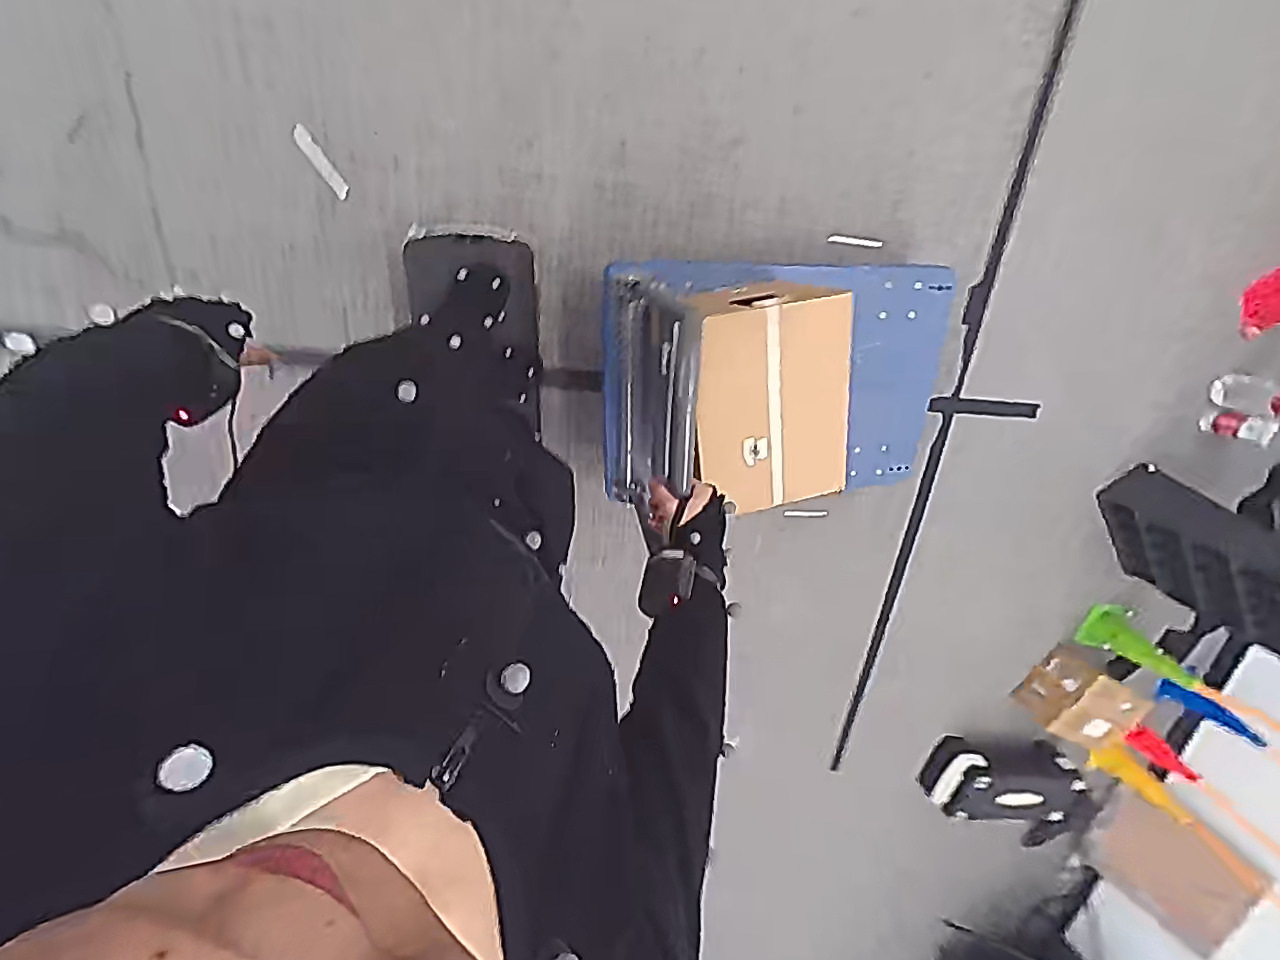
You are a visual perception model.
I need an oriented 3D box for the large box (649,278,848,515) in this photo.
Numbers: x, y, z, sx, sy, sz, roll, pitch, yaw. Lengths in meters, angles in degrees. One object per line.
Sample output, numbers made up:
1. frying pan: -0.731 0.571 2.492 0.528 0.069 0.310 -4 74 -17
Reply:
1. large box: 0.222 -0.195 1.170 0.320 0.320 0.408 -11 116 -7
